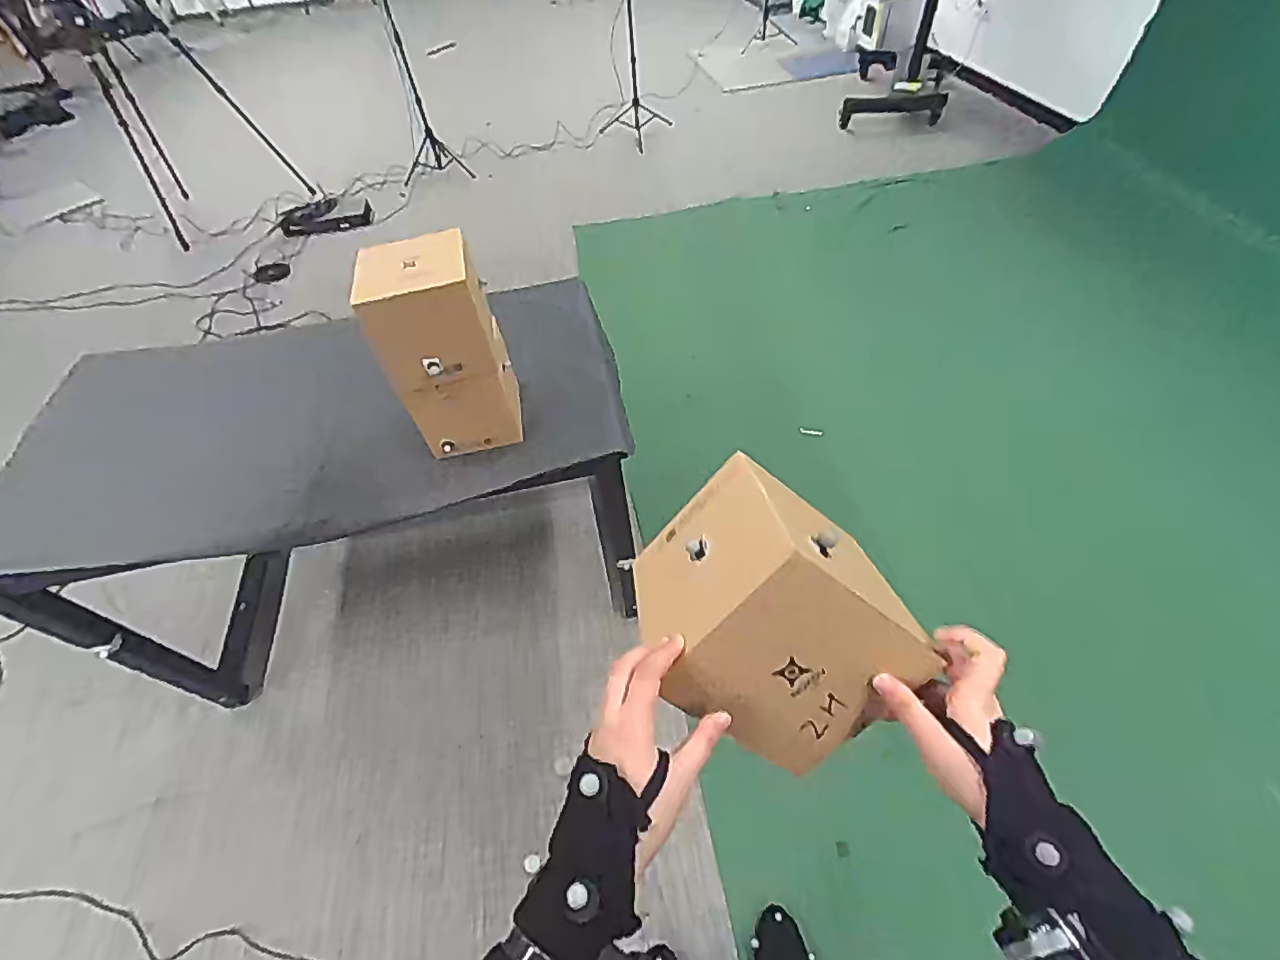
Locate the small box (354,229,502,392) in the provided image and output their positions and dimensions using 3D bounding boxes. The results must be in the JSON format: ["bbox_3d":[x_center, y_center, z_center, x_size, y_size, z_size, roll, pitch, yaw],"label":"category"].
[{"bbox_3d":[-0.330,-0.270,0.868,0.168,0.176,0.179,-15,51,-5],"label":"small box"}]

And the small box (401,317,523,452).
[{"bbox_3d":[-0.318,-0.169,0.995,0.168,0.176,0.179,-11,49,-3],"label":"small box"}]

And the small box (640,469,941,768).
[{"bbox_3d":[0.115,0.113,0.490,0.179,0.168,0.176,34,21,-20],"label":"small box"}]
